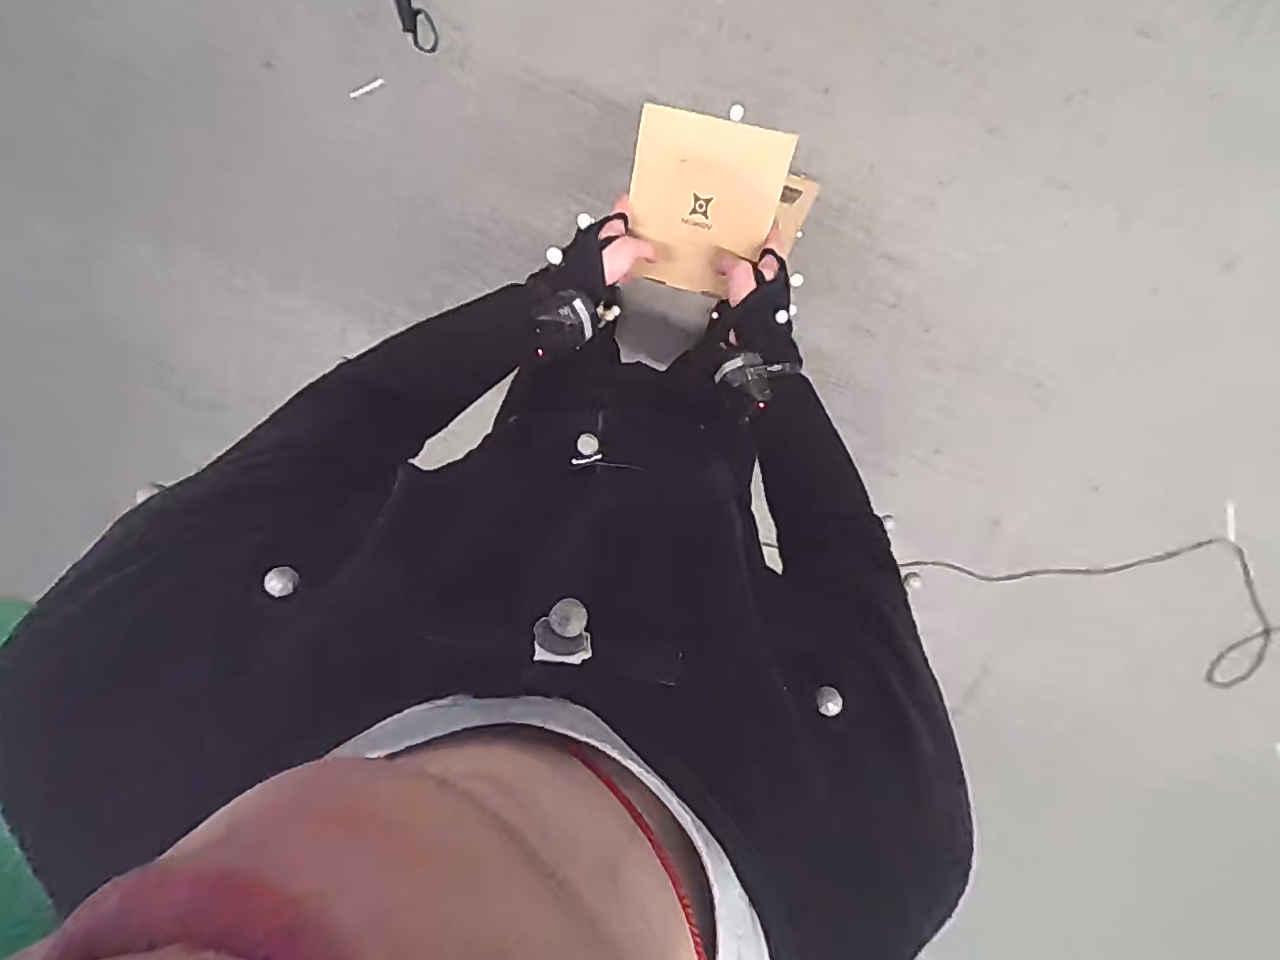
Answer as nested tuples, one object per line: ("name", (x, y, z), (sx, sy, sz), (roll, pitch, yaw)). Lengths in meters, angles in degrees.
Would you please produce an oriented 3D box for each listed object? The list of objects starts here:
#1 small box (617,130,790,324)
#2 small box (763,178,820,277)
("small box", (0.076, -0.315, 0.667), (0.168, 0.176, 0.179), (12, 123, 3))
("small box", (0.270, -0.574, 1.191), (0.168, 0.176, 0.179), (23, 119, -1))
